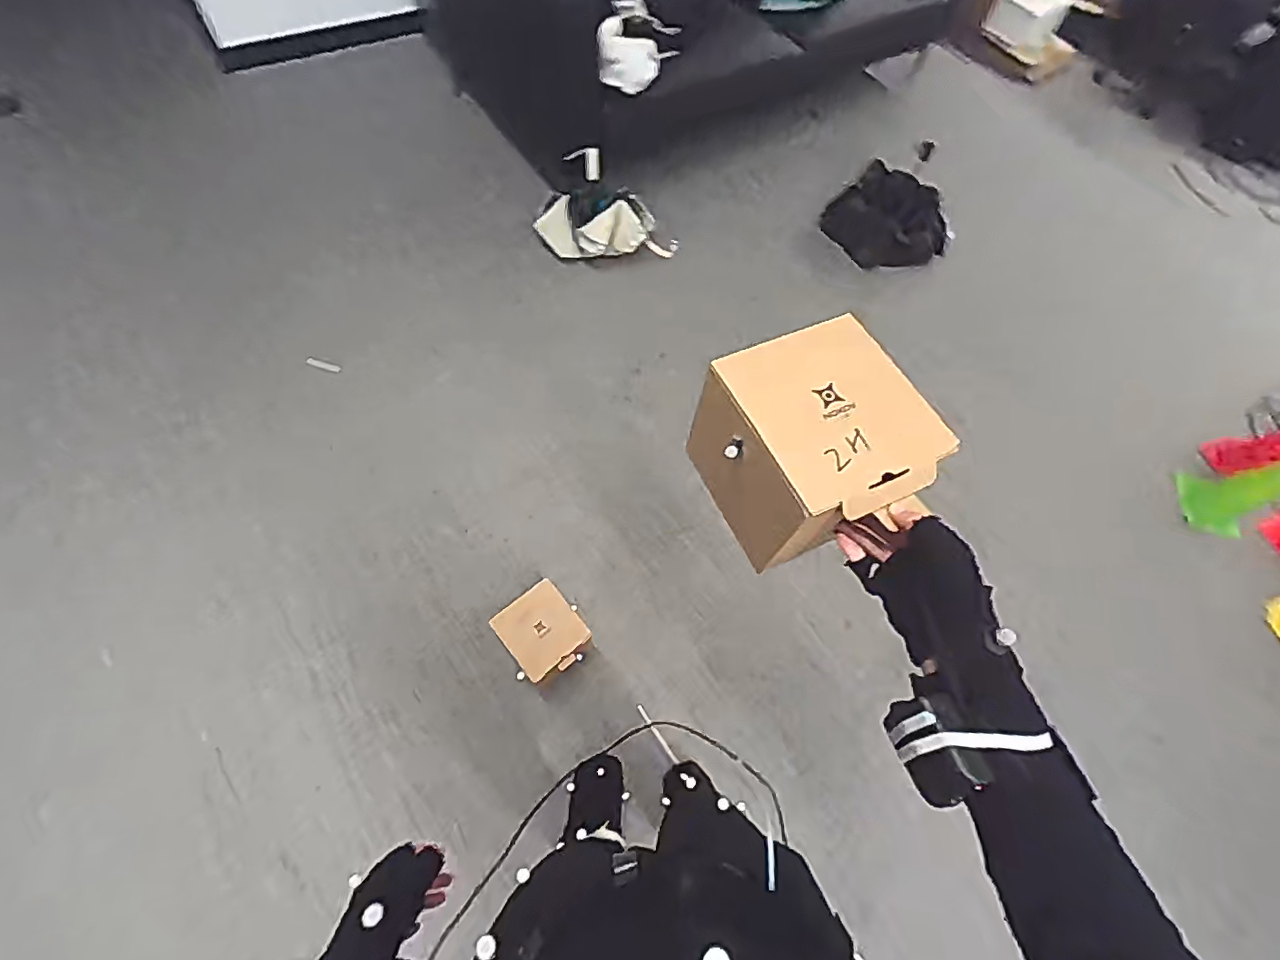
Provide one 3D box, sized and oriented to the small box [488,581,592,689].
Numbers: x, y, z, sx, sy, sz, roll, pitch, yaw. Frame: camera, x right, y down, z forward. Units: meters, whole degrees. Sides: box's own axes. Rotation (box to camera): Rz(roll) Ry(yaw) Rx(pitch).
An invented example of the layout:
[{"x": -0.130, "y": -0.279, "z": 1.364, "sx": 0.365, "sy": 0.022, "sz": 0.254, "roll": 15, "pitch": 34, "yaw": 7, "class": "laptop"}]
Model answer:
[{"x": -0.229, "y": 0.368, "z": 1.262, "sx": 0.168, "sy": 0.176, "sz": 0.179, "roll": -36, "pitch": 73, "yaw": -23, "class": "small box"}]
